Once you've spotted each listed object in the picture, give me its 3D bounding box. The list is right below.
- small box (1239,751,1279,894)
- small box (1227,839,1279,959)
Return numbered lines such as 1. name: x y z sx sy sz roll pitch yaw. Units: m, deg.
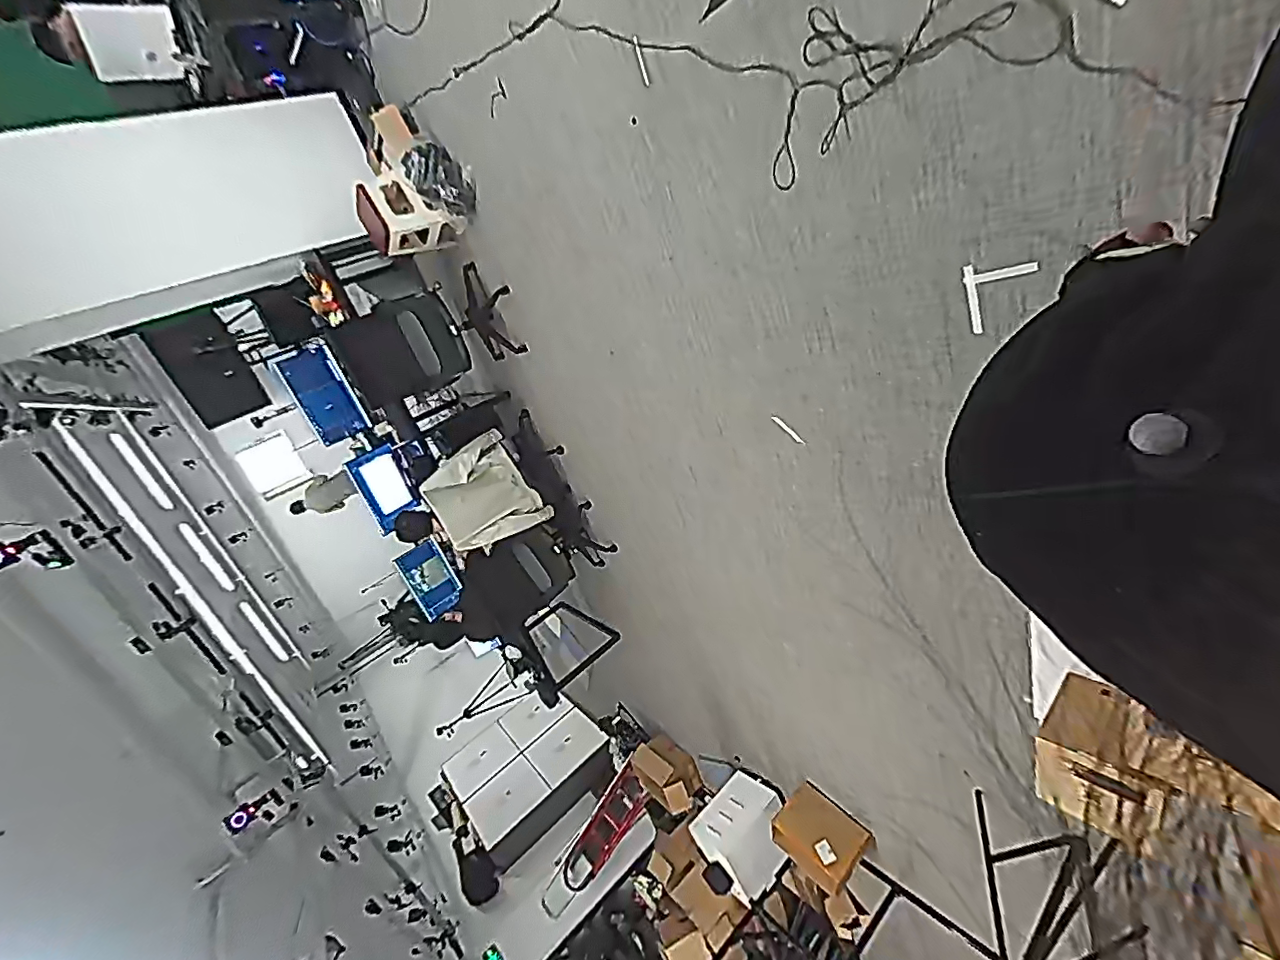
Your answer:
1. small box: 0.964 0.510 0.734 0.168 0.176 0.179 16 132 51
2. small box: 0.845 0.592 0.654 0.168 0.176 0.179 16 133 51
